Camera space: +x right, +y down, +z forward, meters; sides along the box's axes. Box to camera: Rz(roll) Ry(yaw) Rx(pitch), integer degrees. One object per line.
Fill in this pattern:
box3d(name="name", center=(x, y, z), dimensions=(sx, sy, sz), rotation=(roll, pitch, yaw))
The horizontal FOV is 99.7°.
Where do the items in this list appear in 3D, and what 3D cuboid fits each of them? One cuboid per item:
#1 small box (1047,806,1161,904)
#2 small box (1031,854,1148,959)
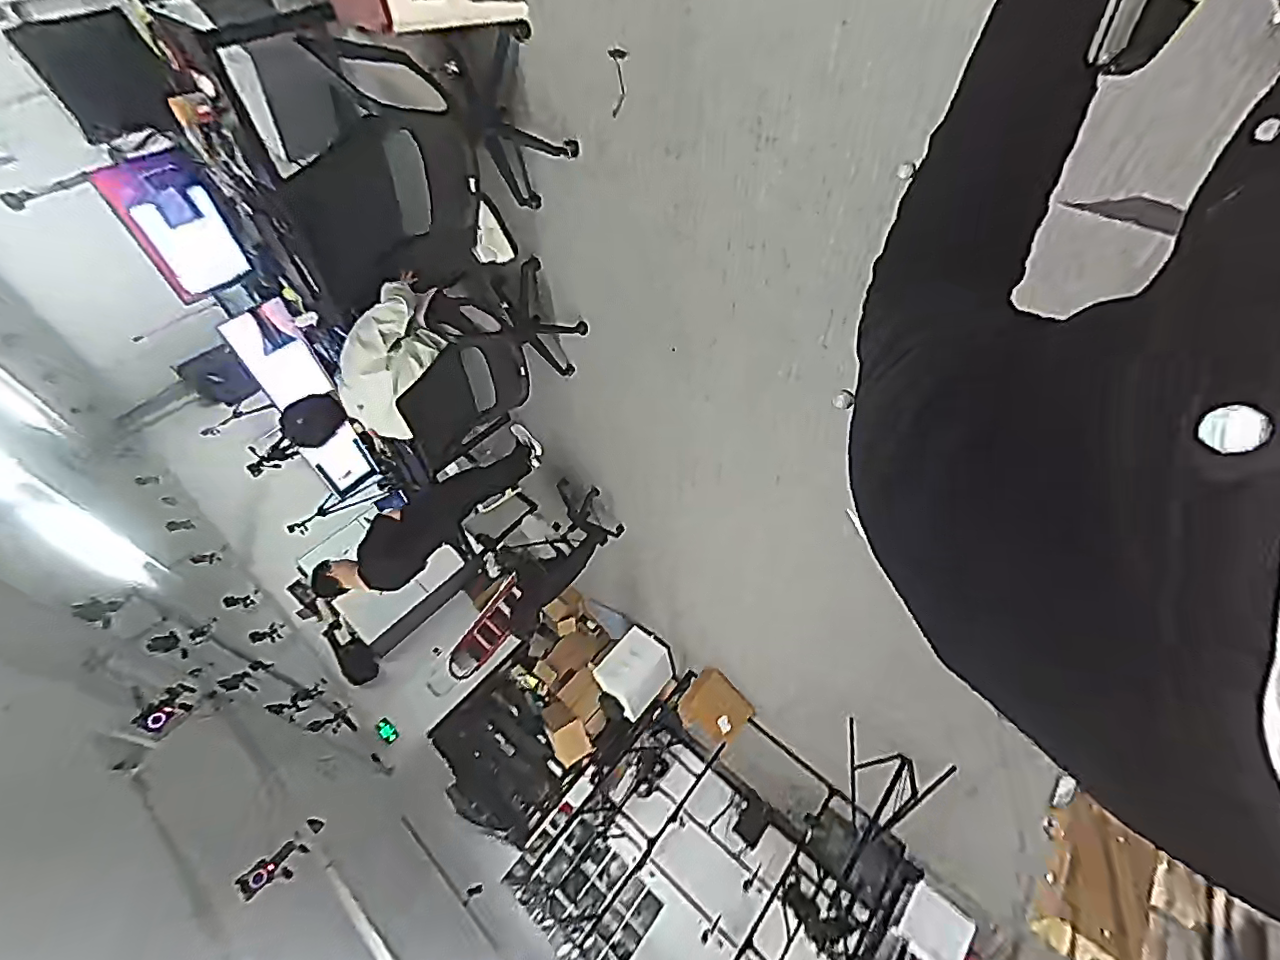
box3d(name="small box", center=(1.294, 1.050, 1.510), dimensions=(0.179, 0.176, 0.168), rotation=(30, 145, 32))
box3d(name="small box", center=(1.184, 1.139, 1.424), dimensions=(0.179, 0.176, 0.168), rotation=(30, 144, 32))
